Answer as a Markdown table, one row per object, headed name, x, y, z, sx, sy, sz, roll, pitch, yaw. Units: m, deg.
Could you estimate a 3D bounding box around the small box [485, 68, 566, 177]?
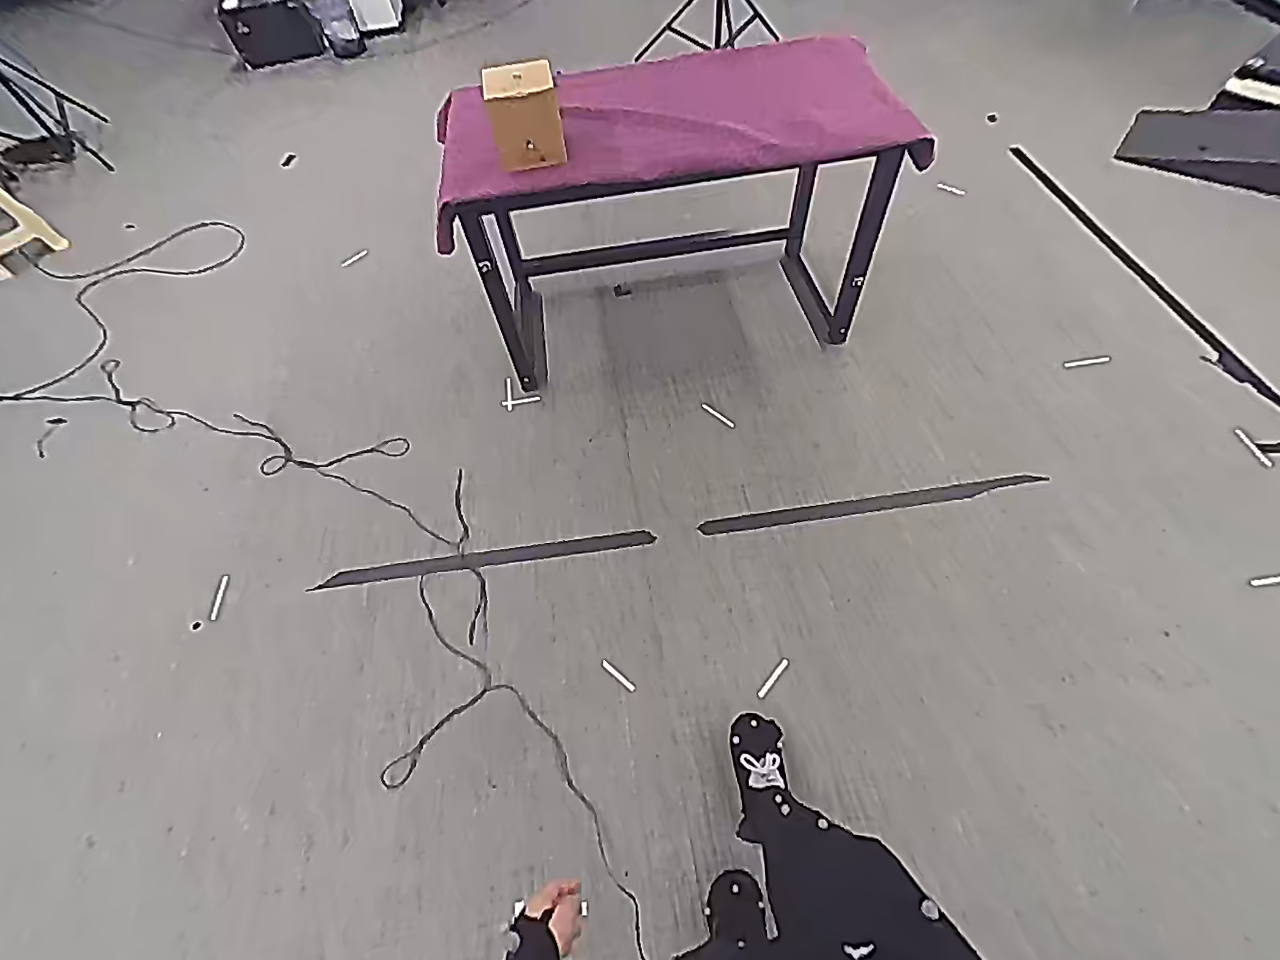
| name | x | y | z | sx | sy | sz | roll | pitch | yaw |
| --- | --- | --- | --- | --- | --- | --- | --- | --- | --- |
| small box | -0.287 | -0.899 | 1.362 | 0.168 | 0.176 | 0.179 | -11 | 57 | -2 |
